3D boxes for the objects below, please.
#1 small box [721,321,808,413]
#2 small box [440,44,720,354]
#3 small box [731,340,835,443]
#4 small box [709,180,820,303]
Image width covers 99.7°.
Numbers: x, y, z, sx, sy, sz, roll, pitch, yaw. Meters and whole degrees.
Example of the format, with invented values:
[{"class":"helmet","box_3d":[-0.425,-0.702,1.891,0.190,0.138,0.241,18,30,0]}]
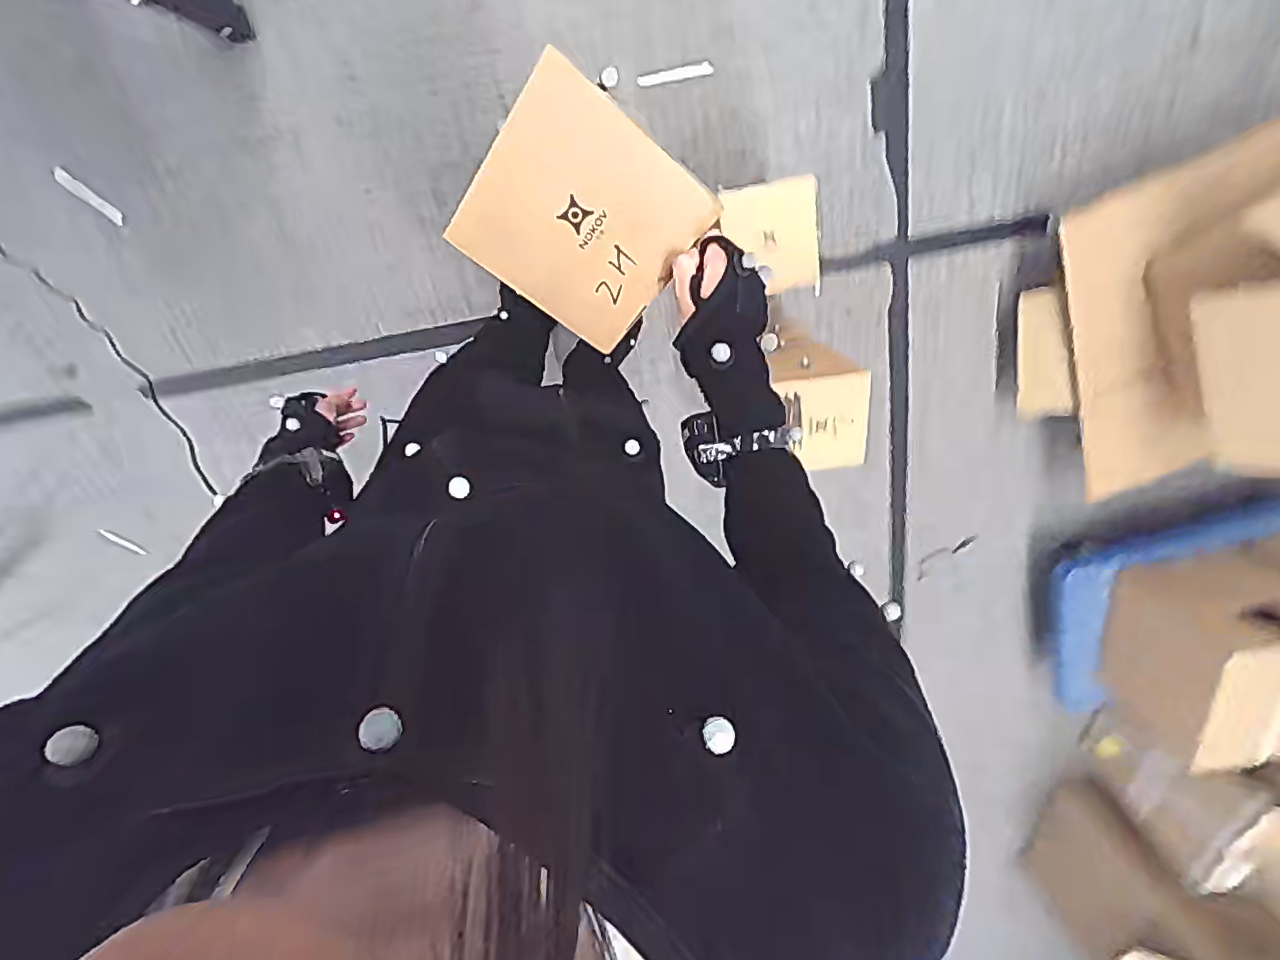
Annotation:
[{"class":"small box","box_3d":[0.288,-0.265,1.279,0.168,0.176,0.179,-5,117,1]},{"class":"small box","box_3d":[-0.054,-0.256,0.511,0.179,0.176,0.168,31,118,-22]},{"class":"small box","box_3d":[0.289,-0.189,1.132,0.179,0.176,0.168,-7,116,0]},{"class":"small box","box_3d":[0.226,-0.445,1.008,0.168,0.176,0.179,-10,117,3]}]
